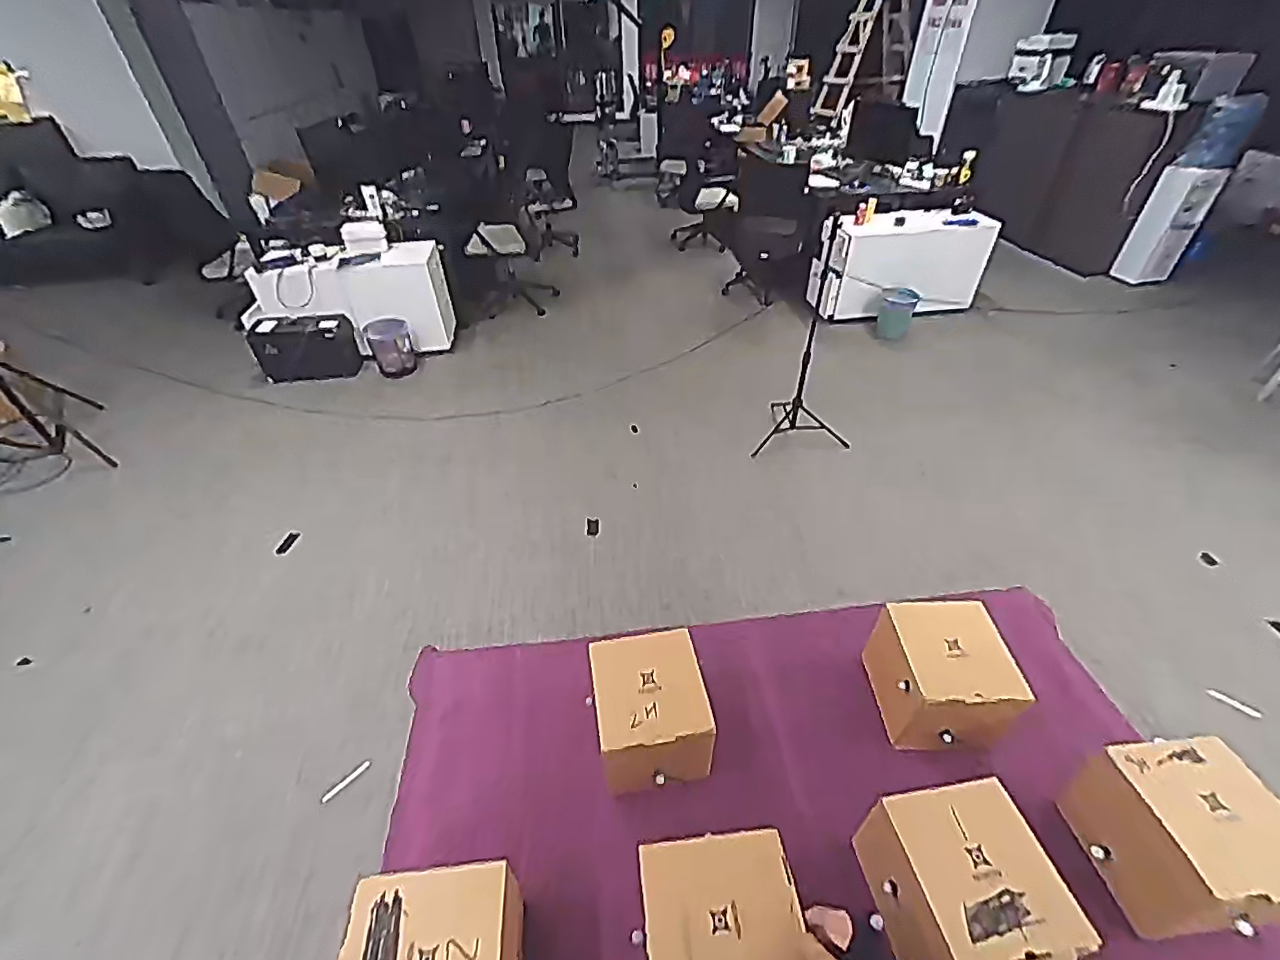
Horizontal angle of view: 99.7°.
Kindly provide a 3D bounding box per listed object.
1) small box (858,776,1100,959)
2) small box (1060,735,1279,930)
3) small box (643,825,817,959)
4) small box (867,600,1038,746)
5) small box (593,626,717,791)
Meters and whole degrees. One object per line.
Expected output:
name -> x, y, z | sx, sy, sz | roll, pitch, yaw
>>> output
small box -> 0.402, 0.508, 0.682 | 0.168, 0.176, 0.179 | -6, 39, -5
small box -> 0.721, 0.468, 0.716 | 0.168, 0.176, 0.179 | -4, 39, -2
small box -> 0.097, 0.544, 0.652 | 0.179, 0.176, 0.168 | -5, 40, -4
small box -> 0.502, 0.321, 0.905 | 0.168, 0.176, 0.179 | -1, 42, 1
small box -> 0.017, 0.365, 0.870 | 0.168, 0.176, 0.179 | -7, 41, -6
